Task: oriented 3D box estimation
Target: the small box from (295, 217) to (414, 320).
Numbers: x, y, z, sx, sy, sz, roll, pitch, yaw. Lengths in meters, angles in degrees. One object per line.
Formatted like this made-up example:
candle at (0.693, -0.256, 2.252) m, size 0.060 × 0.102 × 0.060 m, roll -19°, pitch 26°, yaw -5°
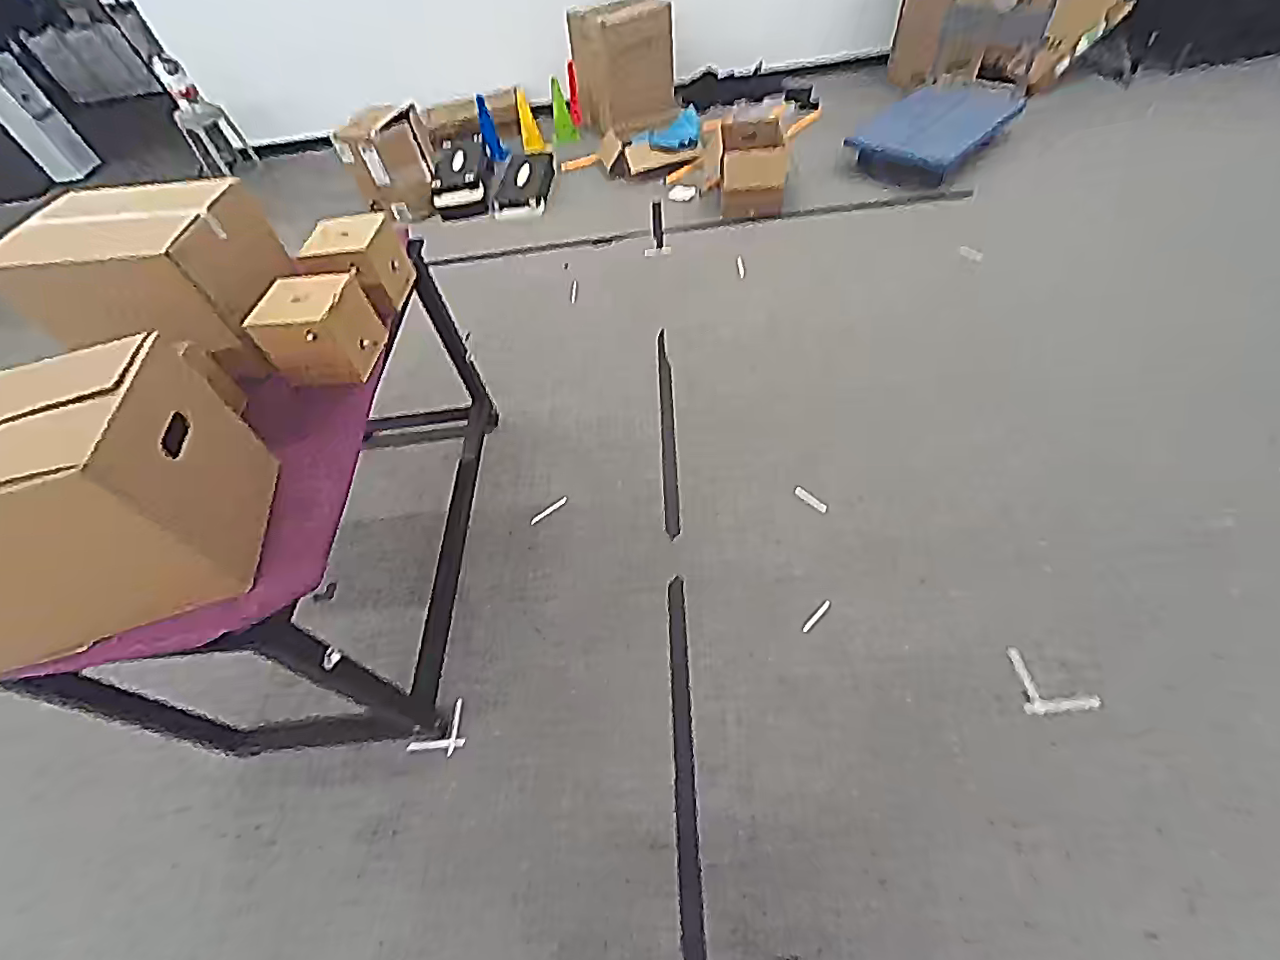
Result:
small box at (-0.687, -0.515, 1.329) m, size 0.179 × 0.176 × 0.168 m, roll -4°, pitch 51°, yaw 7°
